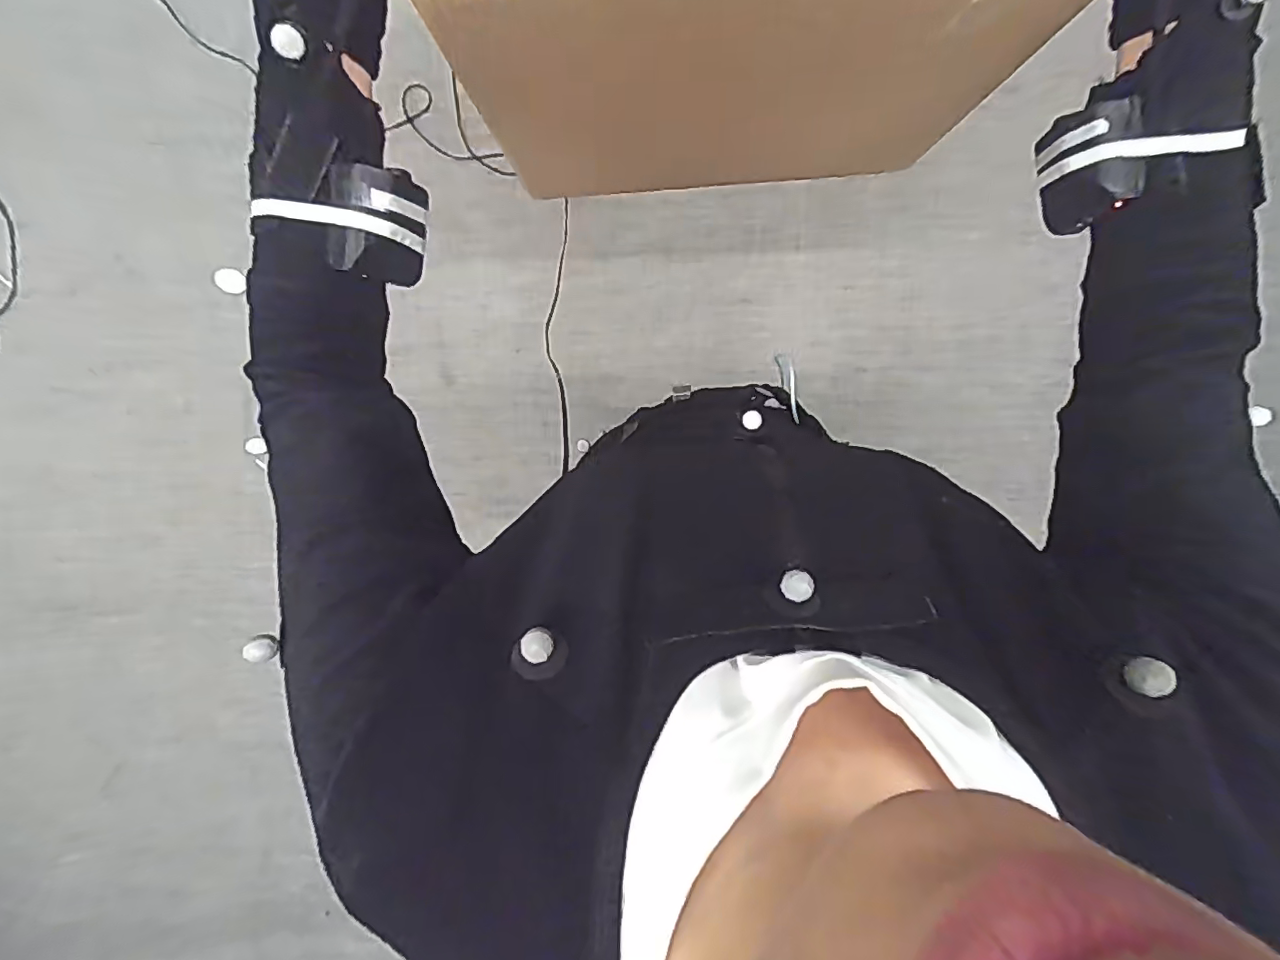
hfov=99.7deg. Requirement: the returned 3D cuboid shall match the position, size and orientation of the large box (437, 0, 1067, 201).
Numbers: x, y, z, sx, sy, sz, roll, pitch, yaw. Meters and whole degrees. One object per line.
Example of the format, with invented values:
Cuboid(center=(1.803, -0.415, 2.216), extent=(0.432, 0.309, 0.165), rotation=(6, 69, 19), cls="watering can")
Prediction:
Cuboid(center=(0.067, -0.447, 0.415), extent=(0.408, 0.320, 0.320), rotation=(-5, 99, 1), cls="large box")
